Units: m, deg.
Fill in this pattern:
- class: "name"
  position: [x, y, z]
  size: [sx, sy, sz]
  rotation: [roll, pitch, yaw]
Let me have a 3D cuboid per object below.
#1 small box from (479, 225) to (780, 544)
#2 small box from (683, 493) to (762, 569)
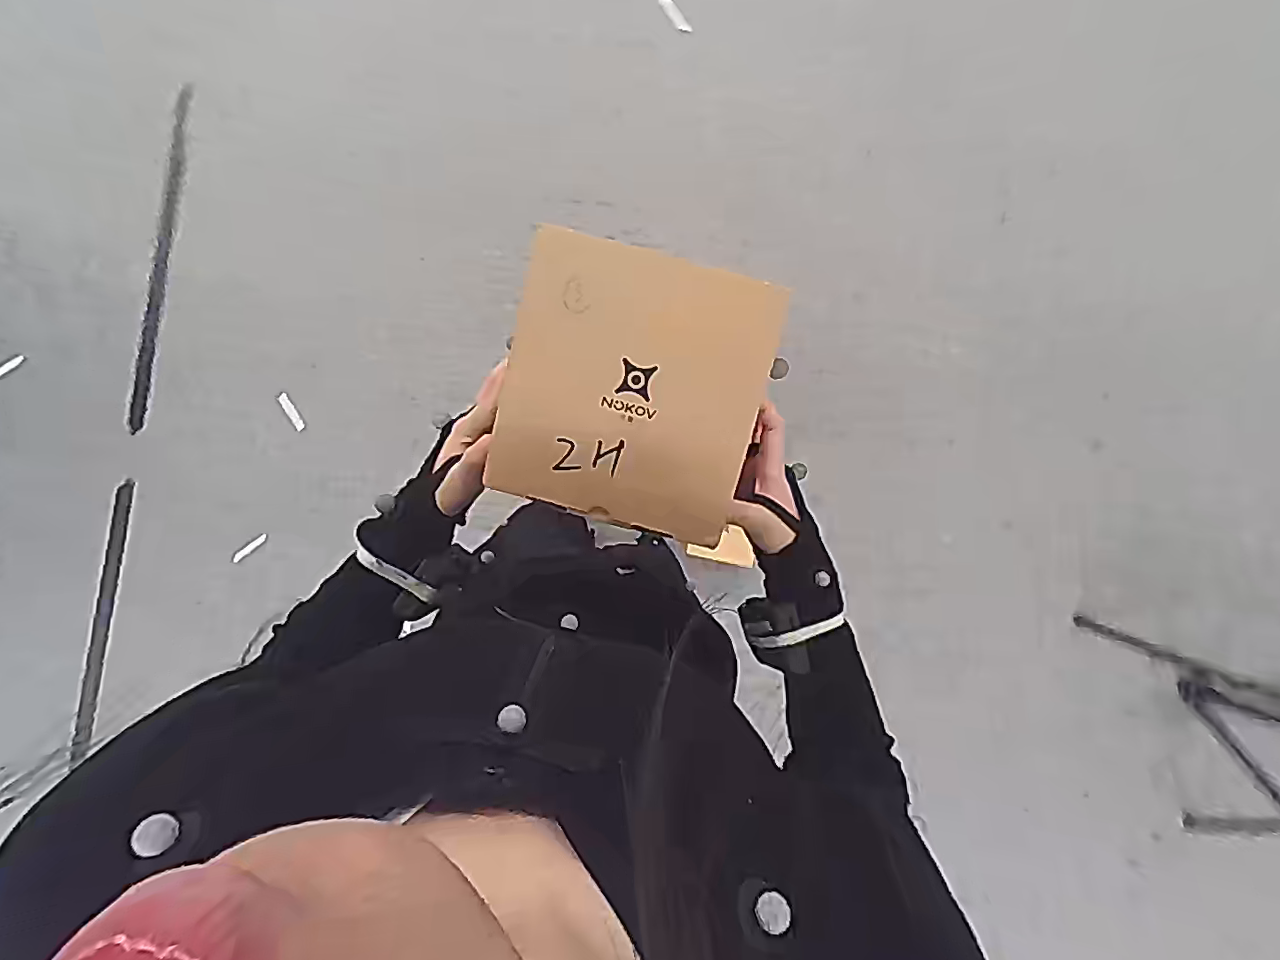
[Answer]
- class: "small box"
  position: [-0.007, -0.070, 0.433]
  size: [0.168, 0.176, 0.179]
  rotation: [15, 99, 0]
- class: "small box"
  position: [0.208, 0.124, 1.413]
  size: [0.168, 0.176, 0.179]
  rotation: [12, 86, 2]
